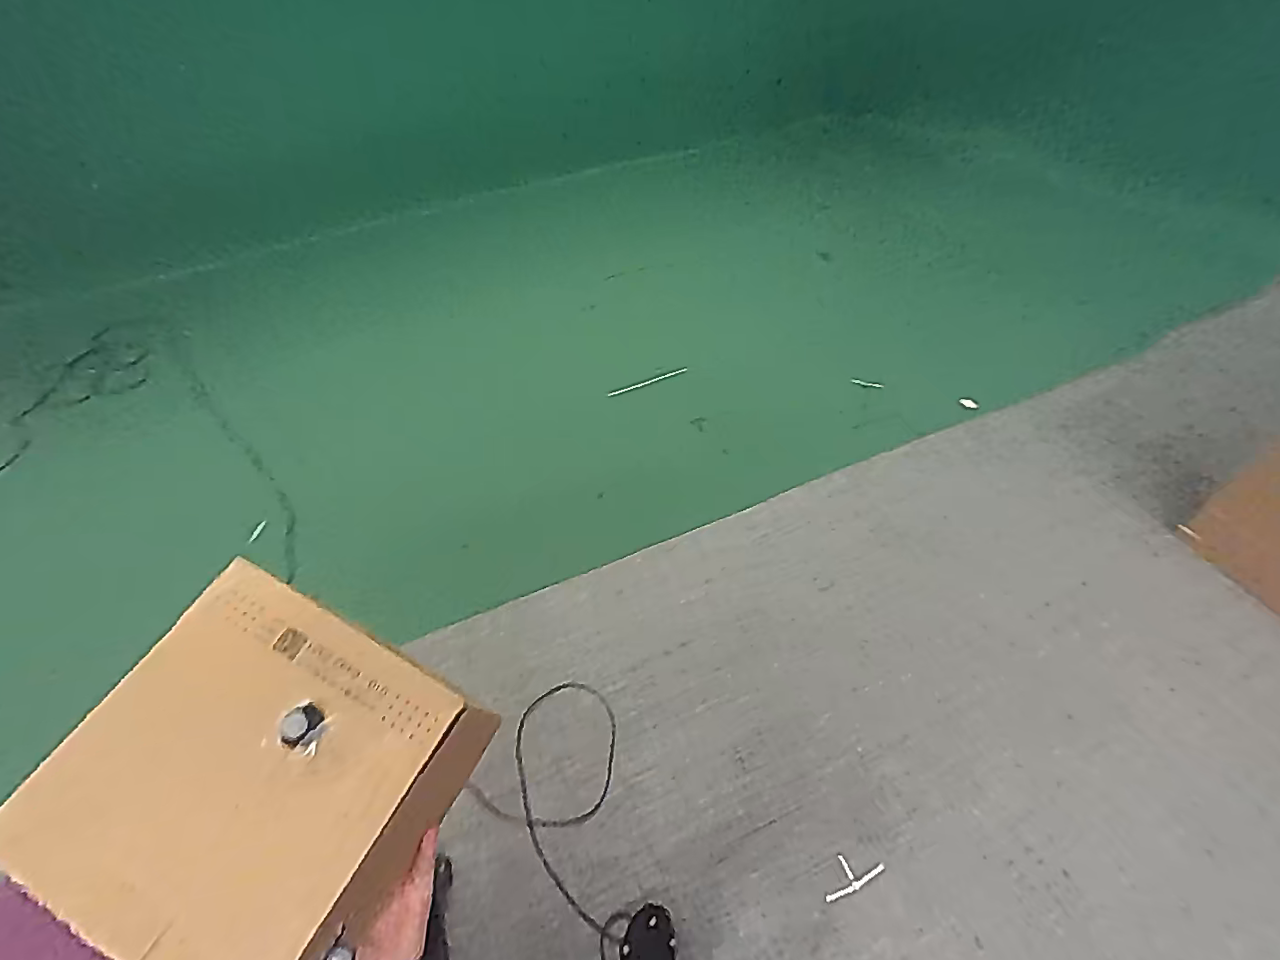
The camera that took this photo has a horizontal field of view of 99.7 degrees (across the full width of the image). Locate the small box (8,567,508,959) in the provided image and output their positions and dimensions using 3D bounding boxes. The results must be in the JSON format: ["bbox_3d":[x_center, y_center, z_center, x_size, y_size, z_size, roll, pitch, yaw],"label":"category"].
[{"bbox_3d":[-0.207,0.185,0.361,0.168,0.179,0.176,28,65,9],"label":"small box"}]
